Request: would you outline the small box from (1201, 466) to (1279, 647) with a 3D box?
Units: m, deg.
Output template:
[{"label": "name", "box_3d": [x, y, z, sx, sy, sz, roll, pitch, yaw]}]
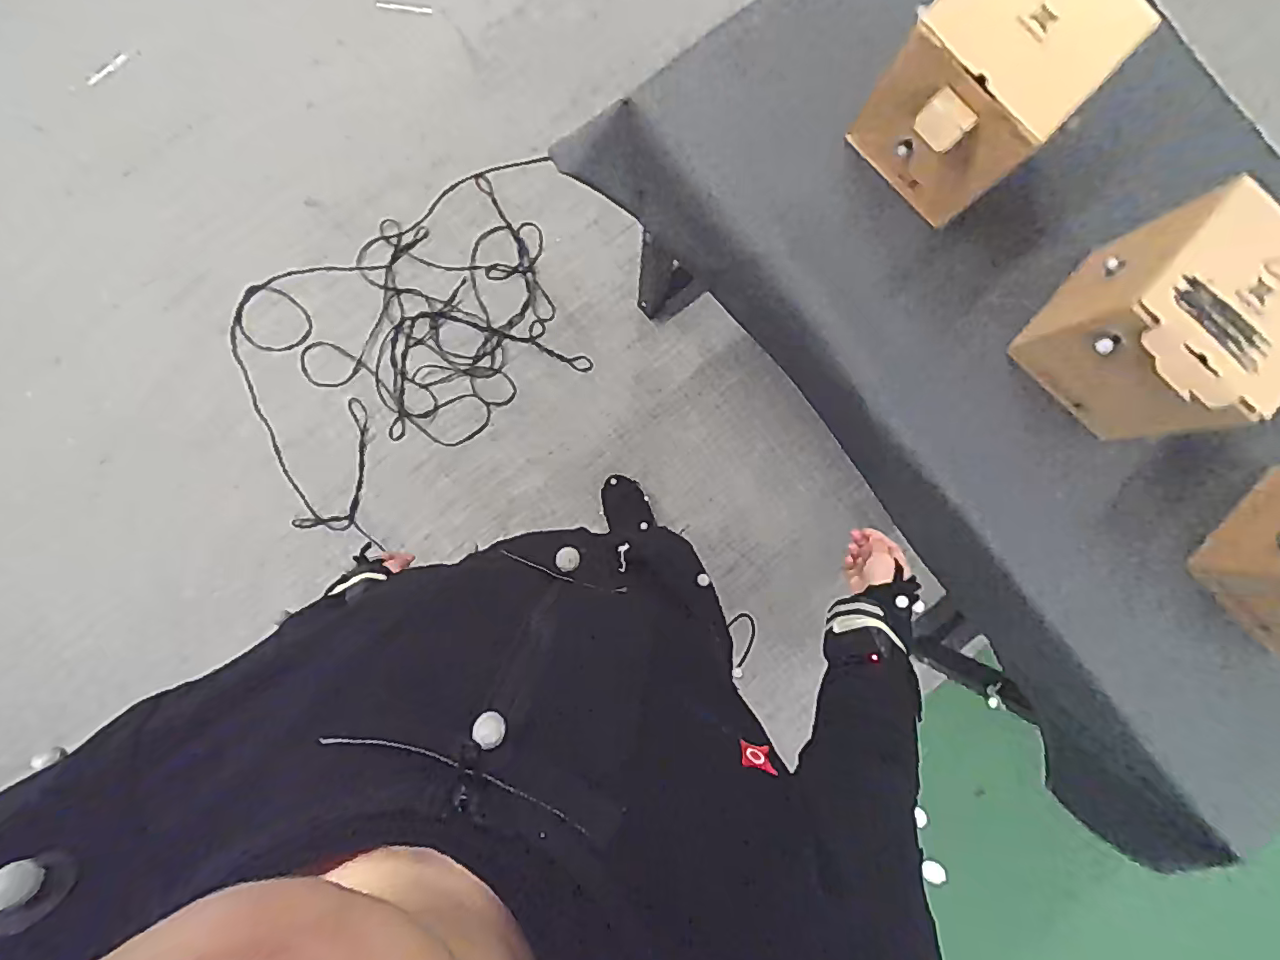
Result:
[{"label": "small box", "box_3d": [0.791, 0.094, 0.591, 0.168, 0.176, 0.179, 44, 86, -2]}]

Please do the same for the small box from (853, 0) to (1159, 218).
[{"label": "small box", "box_3d": [0.370, -0.432, 0.583, 0.168, 0.176, 0.179, 44, 88, -1]}]
